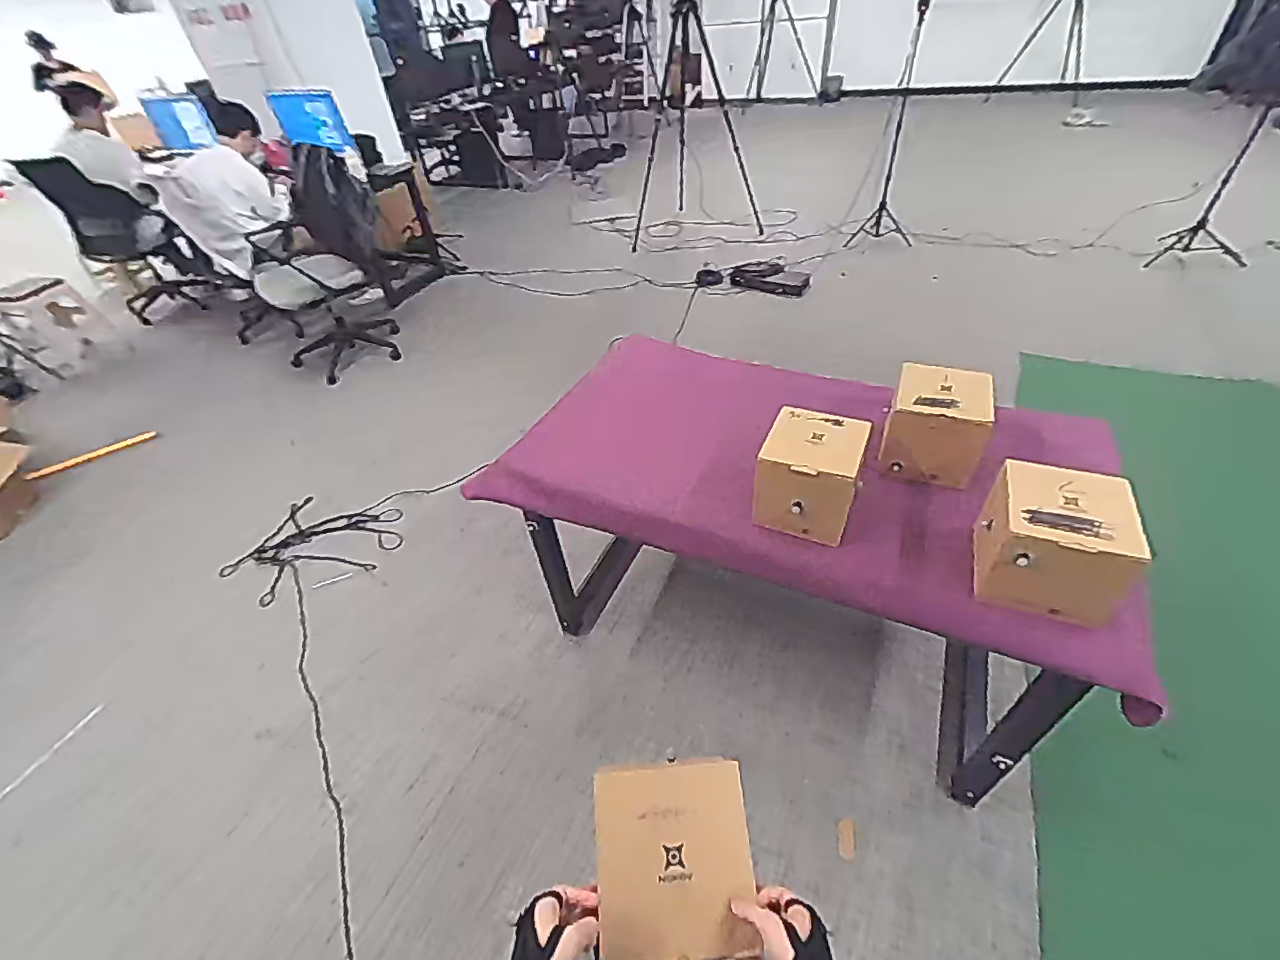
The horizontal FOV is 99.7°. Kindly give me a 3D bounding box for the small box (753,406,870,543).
[{"bbox_3d":[0.316,-0.010,1.011,0.168,0.176,0.179,16,46,22],"label":"small box"}]

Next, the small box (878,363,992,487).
[{"bbox_3d":[0.589,-0.111,1.090,0.168,0.176,0.179,14,45,20],"label":"small box"}]

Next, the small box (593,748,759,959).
[{"bbox_3d":[0.032,0.422,0.639,0.168,0.176,0.179,-2,66,-4],"label":"small box"}]
